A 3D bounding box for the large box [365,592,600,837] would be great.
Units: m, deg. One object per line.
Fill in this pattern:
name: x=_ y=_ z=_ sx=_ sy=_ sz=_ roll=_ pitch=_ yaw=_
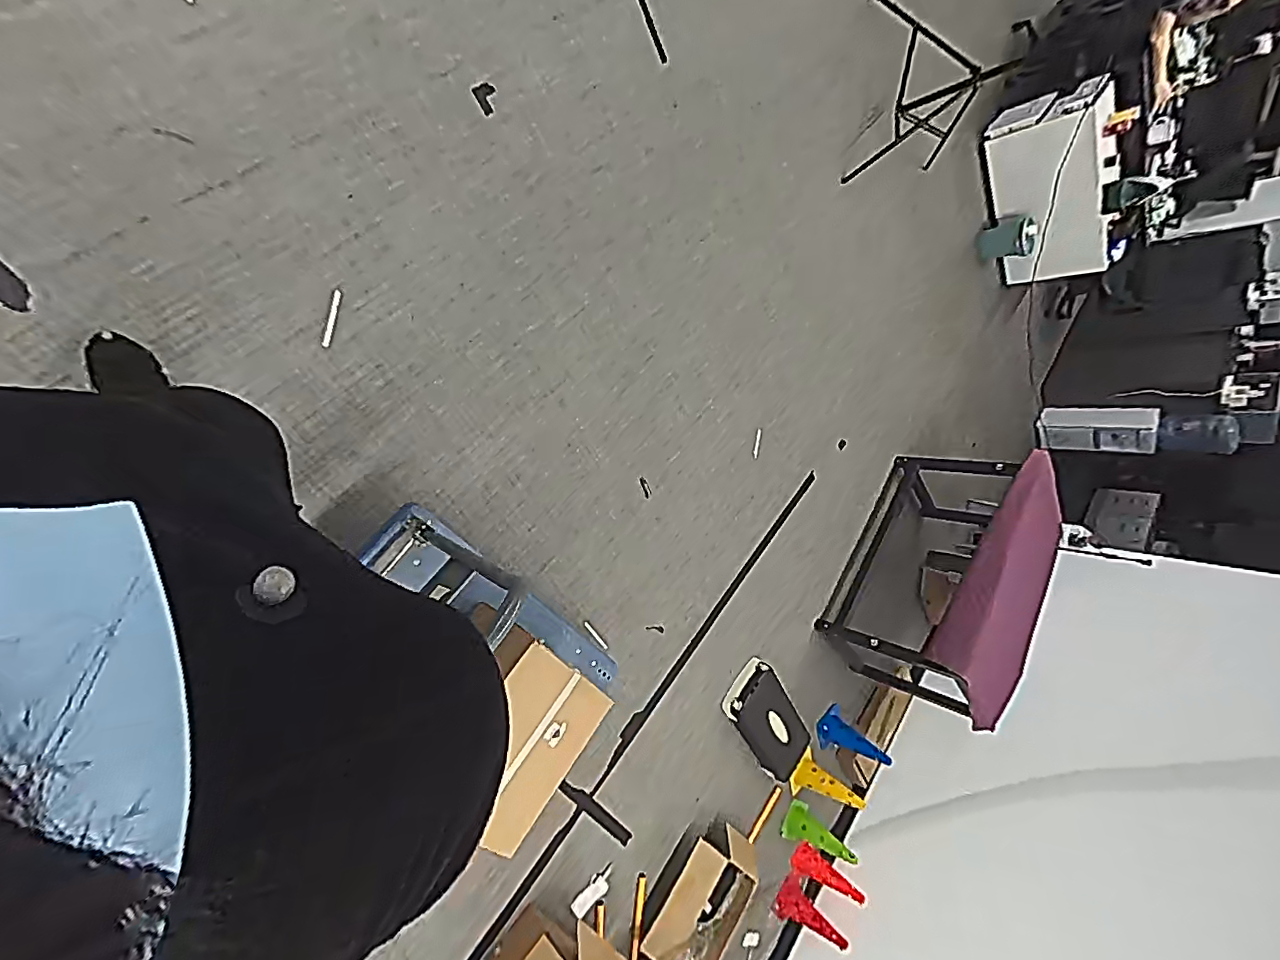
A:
large box: x=-0.382 y=0.553 z=1.330 sx=0.408 sy=0.320 sz=0.320 roll=-54 pitch=126 yaw=-22
